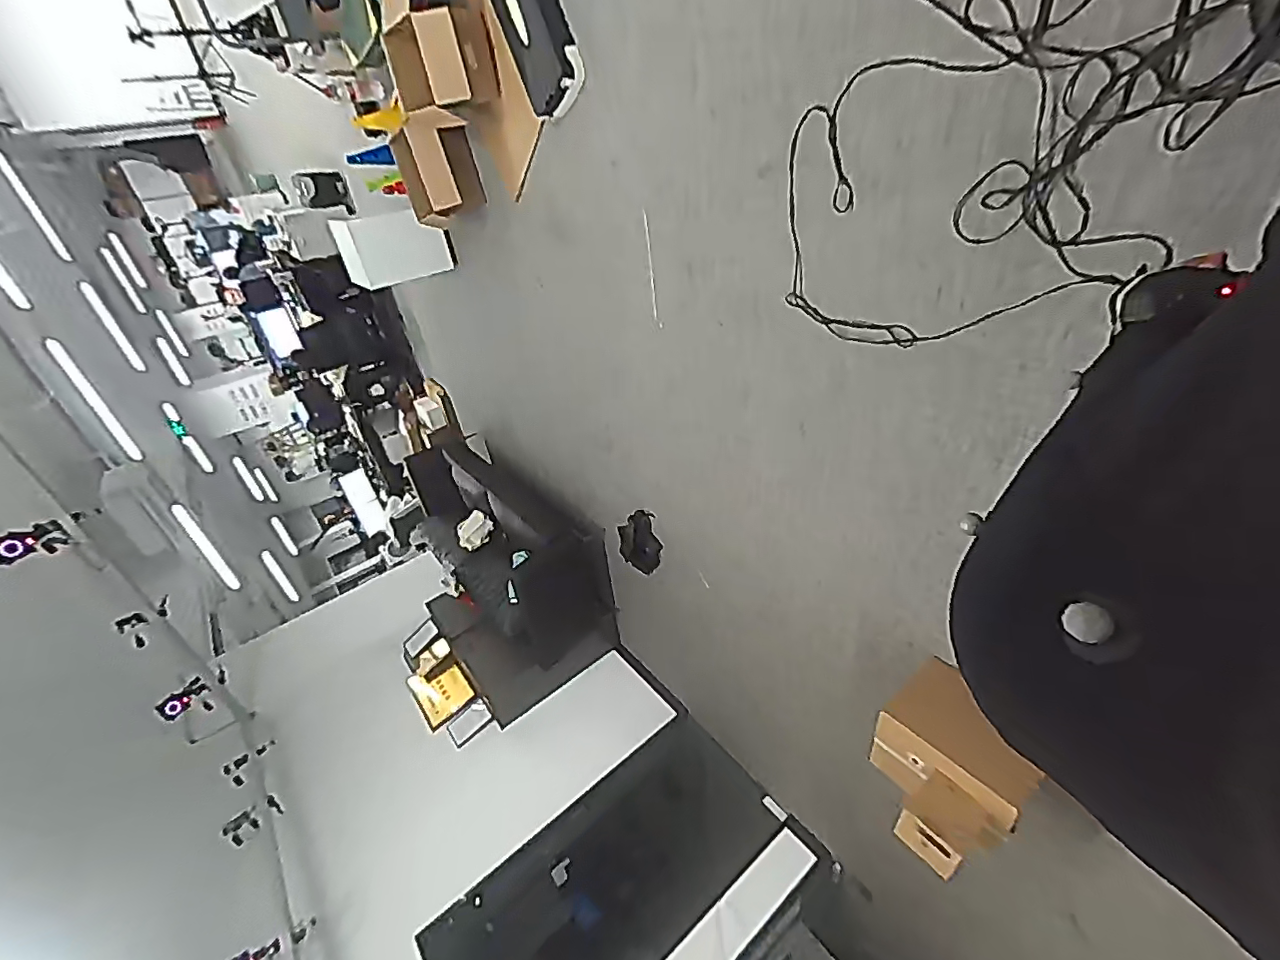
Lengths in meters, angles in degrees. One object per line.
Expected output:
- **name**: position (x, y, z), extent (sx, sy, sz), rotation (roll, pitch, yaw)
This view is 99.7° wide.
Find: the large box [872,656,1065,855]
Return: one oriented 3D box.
- **large box**: position (1.025, 0.855, 1.723), extent (0.408, 0.320, 0.320), rotation (33, 141, 44)
